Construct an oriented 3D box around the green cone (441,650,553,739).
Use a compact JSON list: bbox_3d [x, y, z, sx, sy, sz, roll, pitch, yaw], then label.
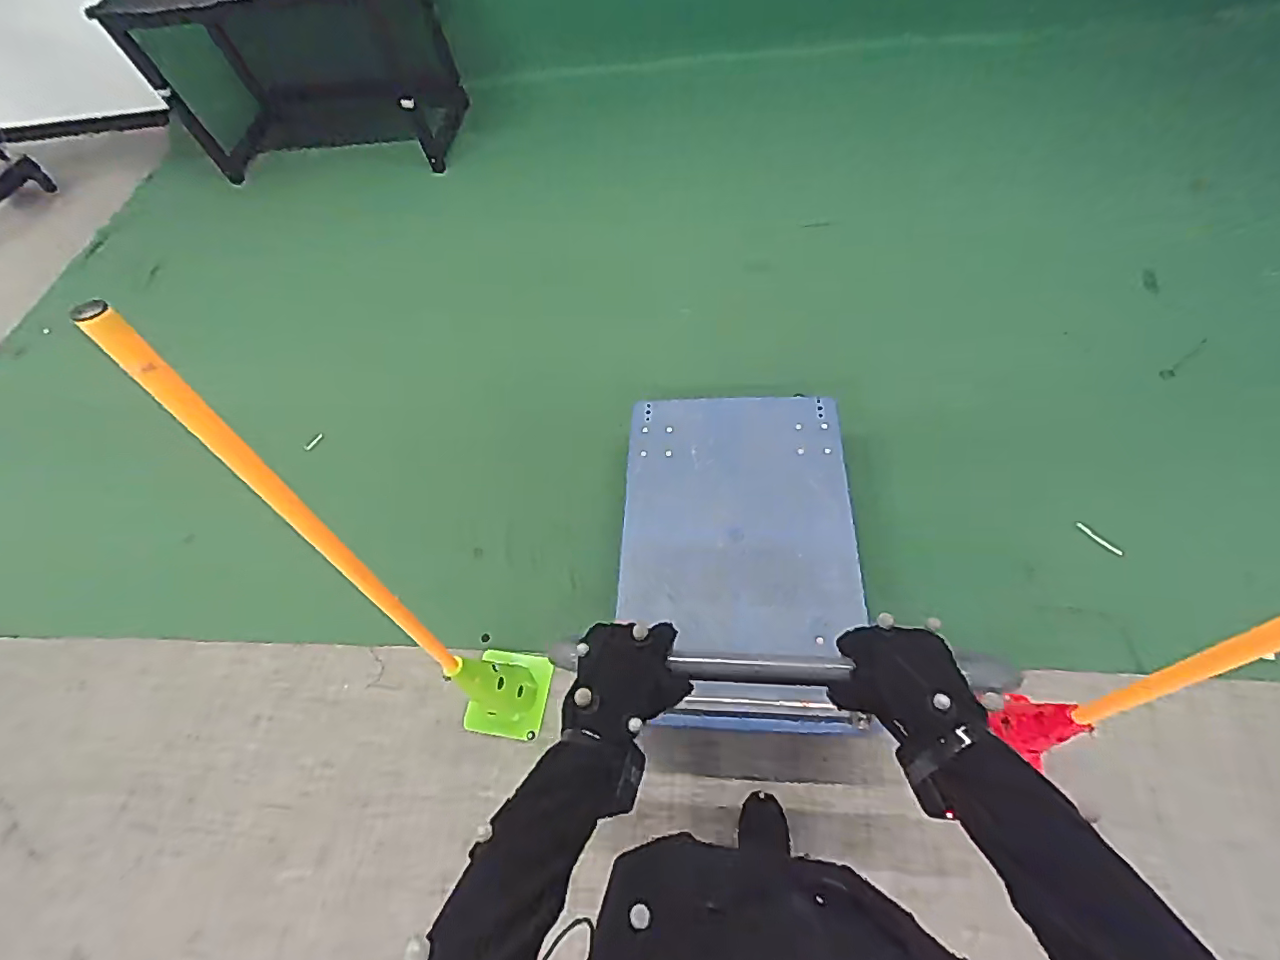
[{"bbox_3d":[-0.357,0.463,1.250,0.202,0.368,0.200,4,60,11],"label":"green cone"}]
